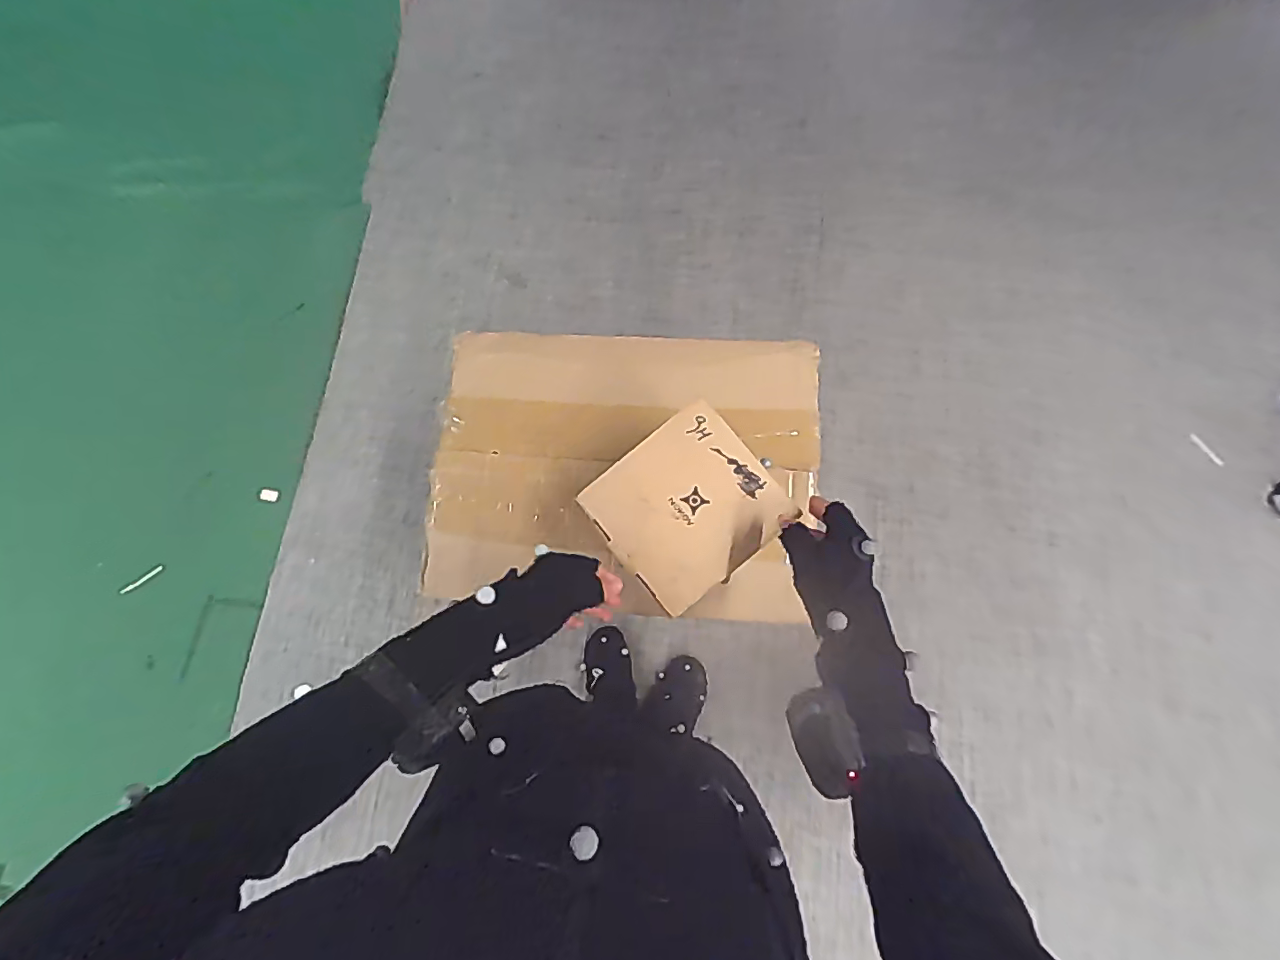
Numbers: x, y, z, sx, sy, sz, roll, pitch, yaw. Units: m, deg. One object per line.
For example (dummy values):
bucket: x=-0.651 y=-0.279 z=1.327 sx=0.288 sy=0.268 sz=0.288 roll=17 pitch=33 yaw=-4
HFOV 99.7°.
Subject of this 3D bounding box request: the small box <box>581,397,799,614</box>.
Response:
small box: x=0.058 y=0.034 z=0.647 sx=0.179 sy=0.176 sz=0.168 roll=-39 pitch=83 yaw=-1
